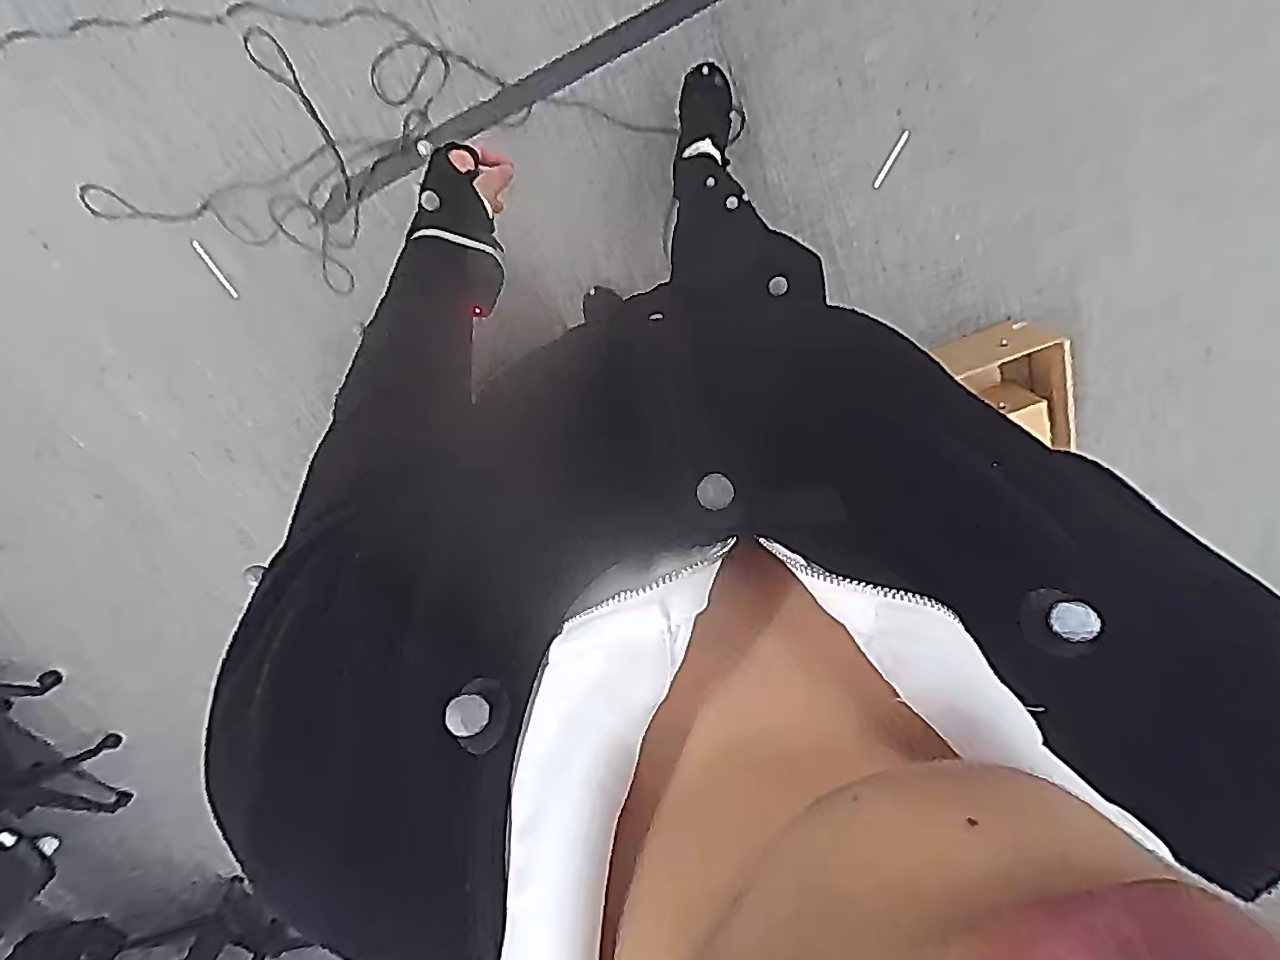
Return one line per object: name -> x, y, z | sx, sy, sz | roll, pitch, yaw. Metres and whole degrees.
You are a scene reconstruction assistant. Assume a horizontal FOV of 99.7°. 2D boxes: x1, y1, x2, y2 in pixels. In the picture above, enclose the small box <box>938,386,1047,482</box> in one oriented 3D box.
small box -> 0.918, -0.127, 1.417 | 0.179, 0.176, 0.168 | -21, 114, 11
